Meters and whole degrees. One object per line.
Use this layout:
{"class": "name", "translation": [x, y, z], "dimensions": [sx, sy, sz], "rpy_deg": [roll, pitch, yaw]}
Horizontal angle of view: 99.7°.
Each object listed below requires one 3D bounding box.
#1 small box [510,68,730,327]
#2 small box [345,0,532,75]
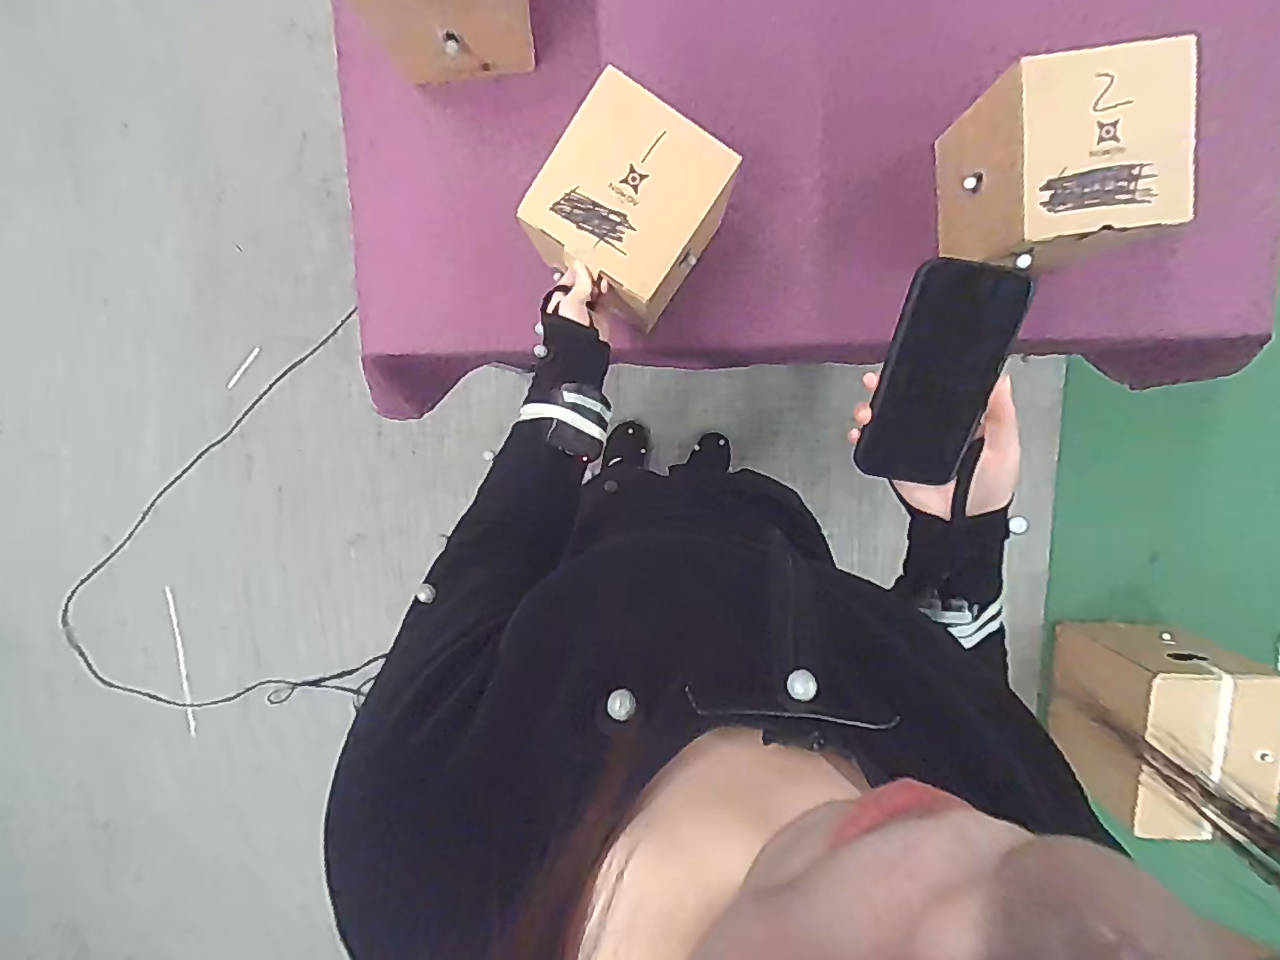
{"class": "small box", "translation": [-0.018, -0.304, 0.628], "dimensions": [0.168, 0.176, 0.179], "rpy_deg": [34, 94, -2]}
{"class": "small box", "translation": [-0.225, -0.589, 0.602], "dimensions": [0.168, 0.176, 0.179], "rpy_deg": [-5, 99, 2]}
